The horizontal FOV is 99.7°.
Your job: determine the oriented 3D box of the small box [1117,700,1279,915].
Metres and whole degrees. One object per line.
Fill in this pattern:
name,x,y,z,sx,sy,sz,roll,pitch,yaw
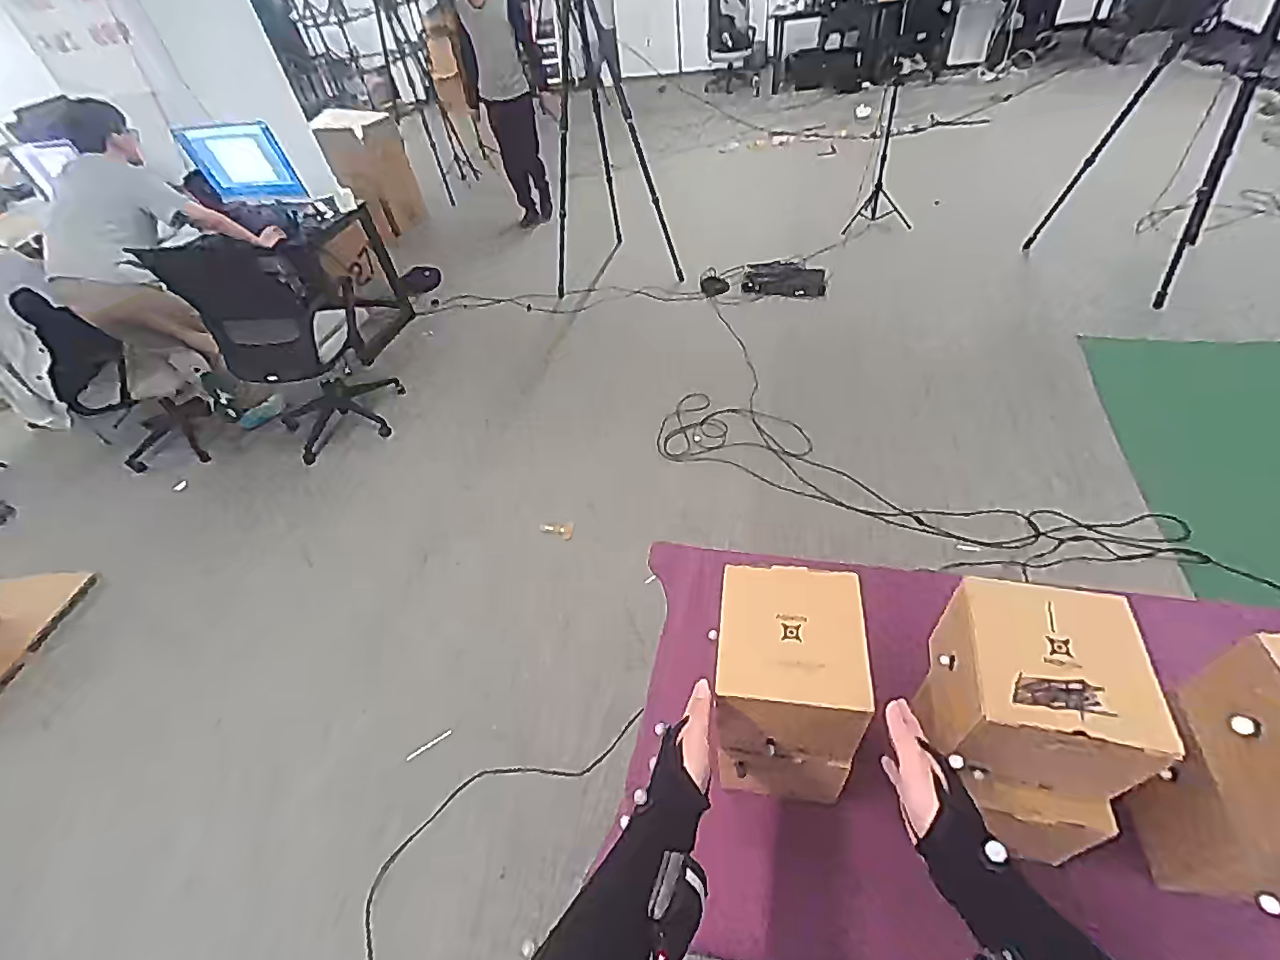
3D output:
small box,0.723,0.396,0.655,0.168,0.176,0.179,2,46,12

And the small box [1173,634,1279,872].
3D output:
small box,0.705,0.280,0.540,0.168,0.176,0.179,1,45,12

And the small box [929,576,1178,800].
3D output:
small box,0.448,0.240,0.625,0.168,0.176,0.179,6,47,16

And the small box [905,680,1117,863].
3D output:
small box,0.467,0.378,0.719,0.168,0.176,0.179,3,47,12

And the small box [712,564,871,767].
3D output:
small box,0.180,0.230,0.678,0.168,0.176,0.179,2,46,12
